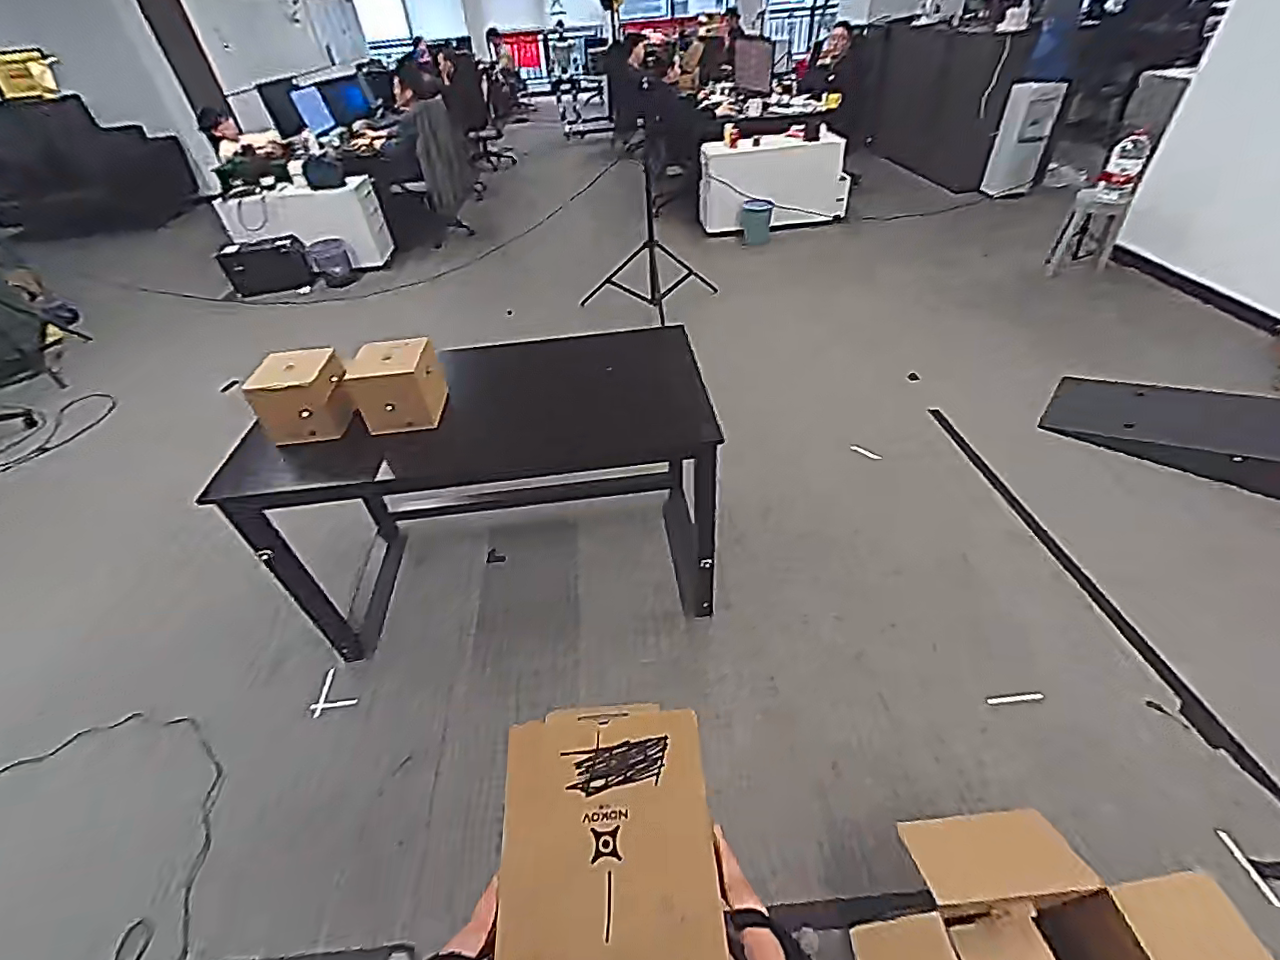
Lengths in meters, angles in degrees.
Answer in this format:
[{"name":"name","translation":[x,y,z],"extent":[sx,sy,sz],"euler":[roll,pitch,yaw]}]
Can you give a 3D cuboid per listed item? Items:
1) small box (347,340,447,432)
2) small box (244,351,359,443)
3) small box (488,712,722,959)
[{"name":"small box","translation":[-0.605,-0.233,1.375],"extent":[0.168,0.176,0.179],"euler":[-6,41,-2]},{"name":"small box","translation":[-0.843,-0.205,1.370],"extent":[0.168,0.176,0.179],"euler":[-6,40,-3]},{"name":"small box","translation":[-0.027,0.328,0.483],"extent":[0.168,0.176,0.179],"euler":[-4,49,-1]}]
